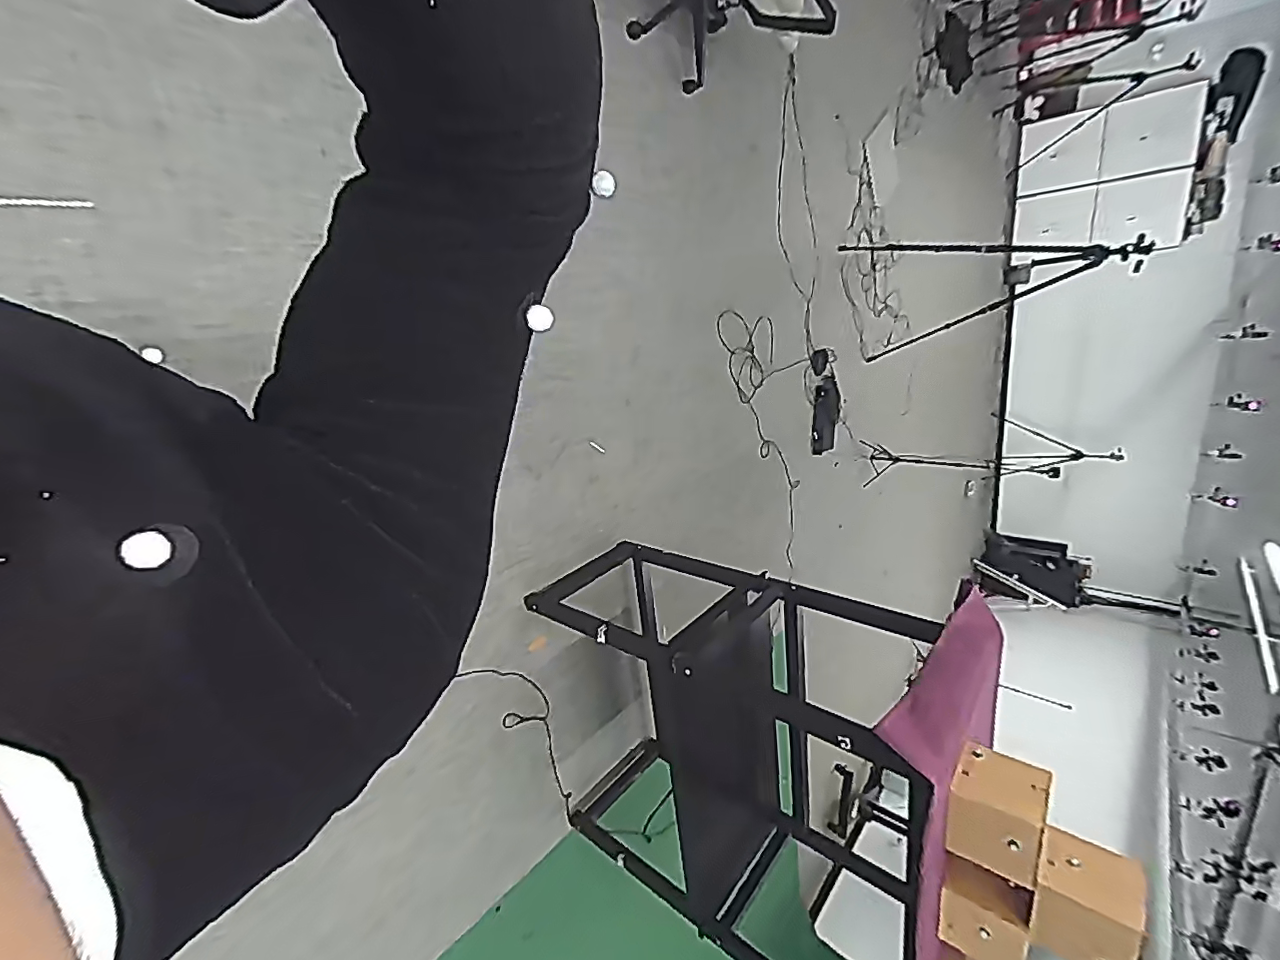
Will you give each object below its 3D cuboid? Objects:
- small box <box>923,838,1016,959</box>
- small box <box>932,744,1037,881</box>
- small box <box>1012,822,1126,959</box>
[{"bbox_3d":[0.788,0.992,1.290,0.179,0.176,0.168,-24,114,-46],"label":"small box"},{"bbox_3d":[0.765,0.723,1.205,0.168,0.176,0.179,-24,116,-44],"label":"small box"},{"bbox_3d":[0.907,0.886,1.151,0.168,0.176,0.179,-23,115,-46],"label":"small box"}]
